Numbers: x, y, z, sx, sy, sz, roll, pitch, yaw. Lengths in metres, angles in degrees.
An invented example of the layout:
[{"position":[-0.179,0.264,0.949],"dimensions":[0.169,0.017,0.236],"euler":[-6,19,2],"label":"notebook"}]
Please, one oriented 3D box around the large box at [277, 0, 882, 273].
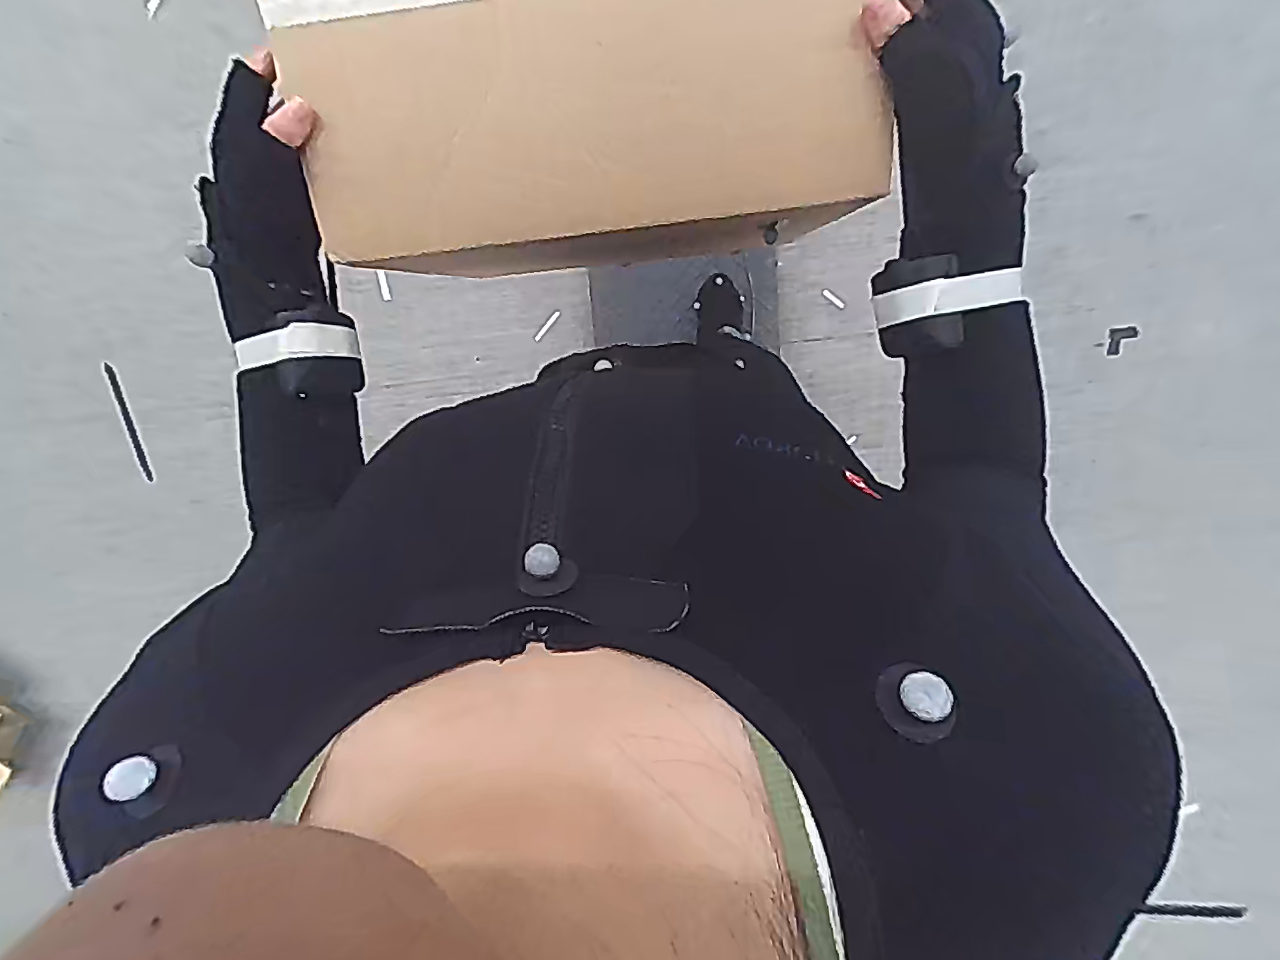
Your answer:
[{"position":[-0.038,-0.377,0.490],"dimensions":[0.408,0.320,0.320],"euler":[-5,108,4],"label":"large box"}]
